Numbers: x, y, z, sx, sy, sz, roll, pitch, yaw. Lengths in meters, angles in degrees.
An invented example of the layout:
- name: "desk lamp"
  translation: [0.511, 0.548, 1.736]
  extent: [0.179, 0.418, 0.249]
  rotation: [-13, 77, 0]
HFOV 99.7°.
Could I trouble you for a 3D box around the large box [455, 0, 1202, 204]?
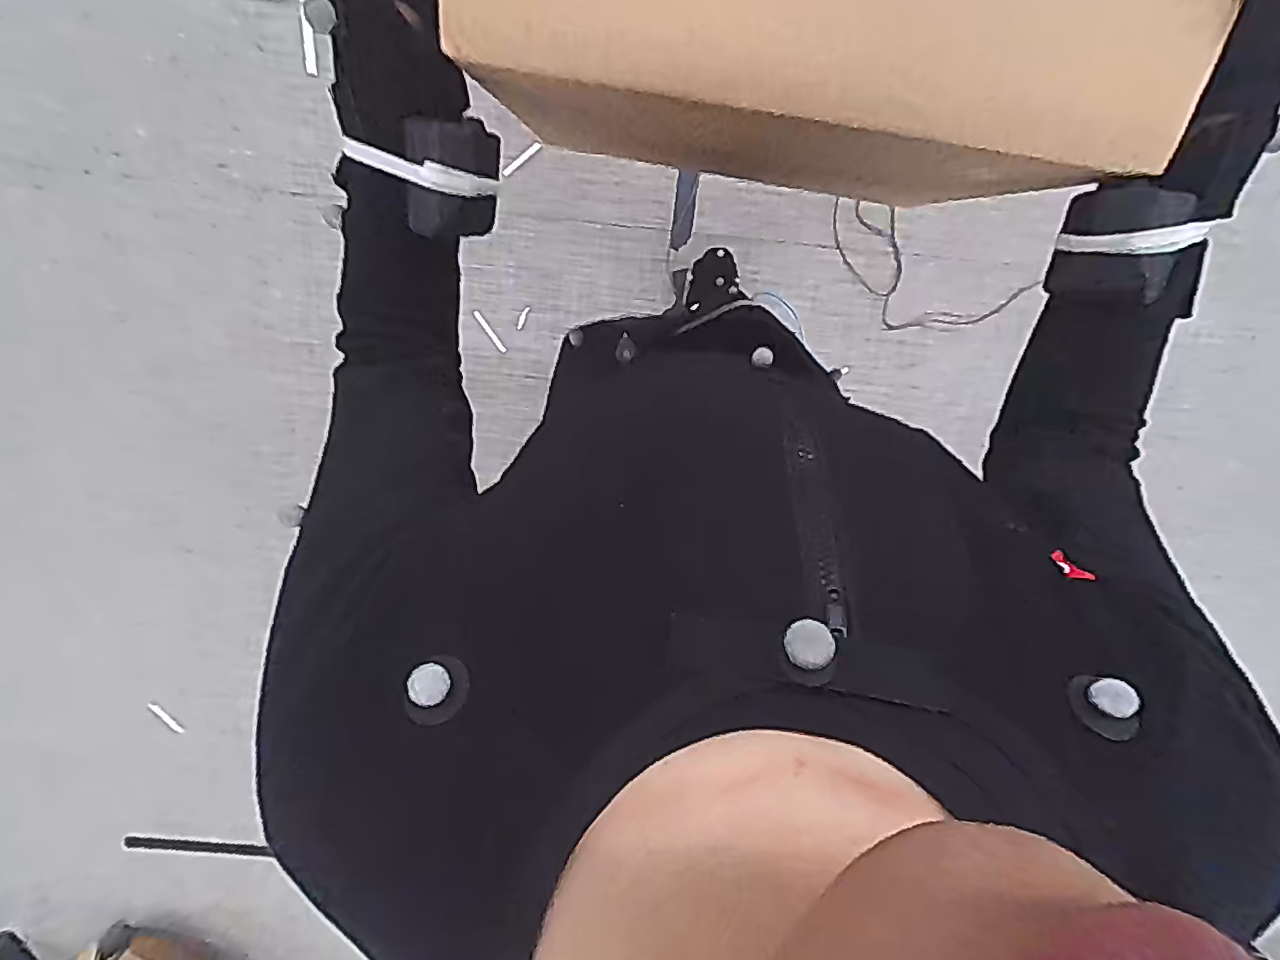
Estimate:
- name: "large box"
  translation: [0.111, -0.402, 0.386]
  extent: [0.408, 0.320, 0.320]
  rotation: [8, 115, -3]
